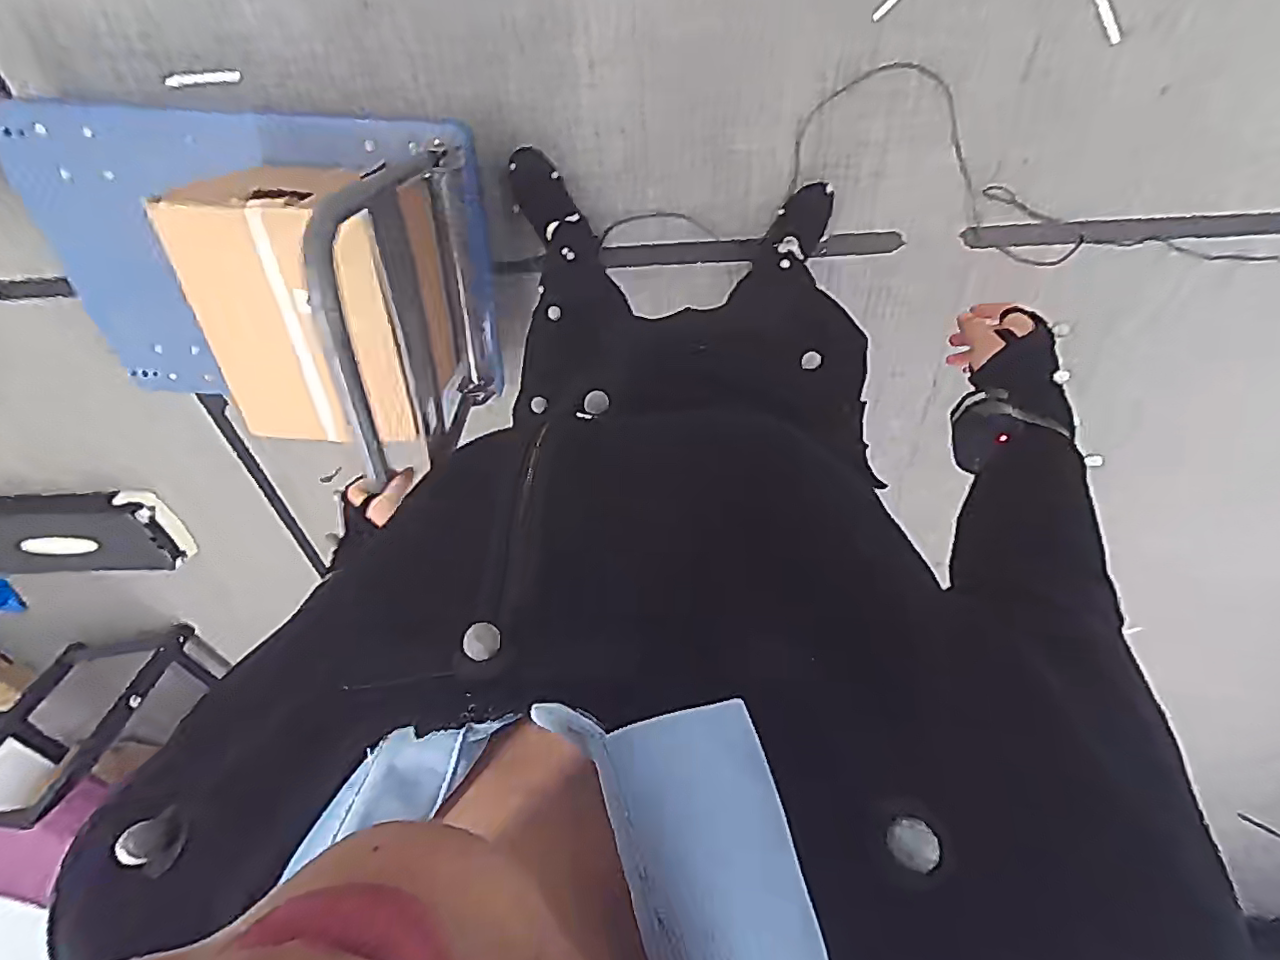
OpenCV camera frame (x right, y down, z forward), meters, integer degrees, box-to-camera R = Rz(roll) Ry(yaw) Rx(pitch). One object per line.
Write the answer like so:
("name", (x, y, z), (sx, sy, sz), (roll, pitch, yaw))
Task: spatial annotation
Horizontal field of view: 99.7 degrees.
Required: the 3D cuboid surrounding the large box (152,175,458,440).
("large box", (-0.567, -0.326, 1.027), (0.320, 0.320, 0.408), (1, 127, -2))
